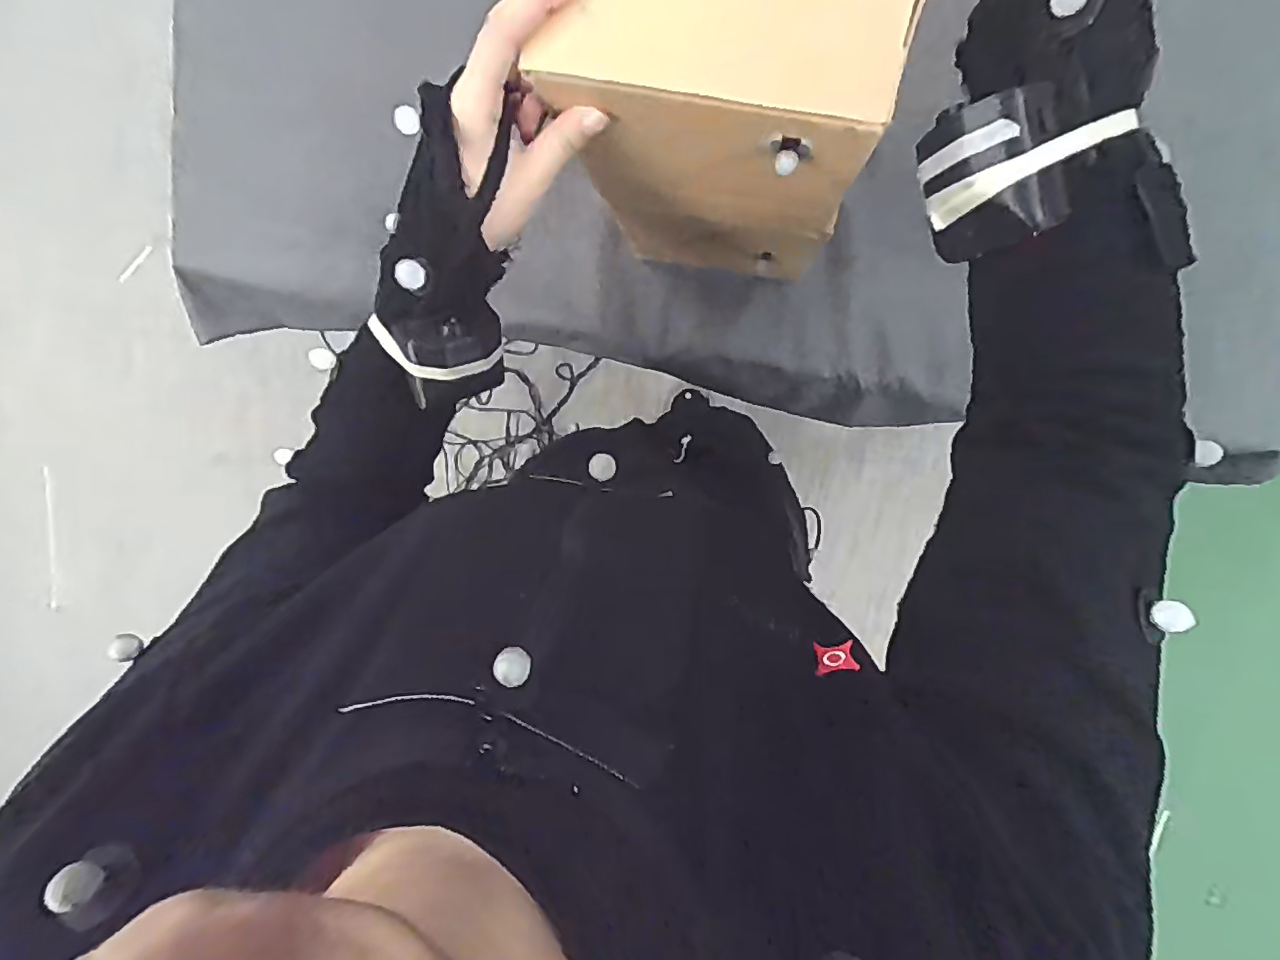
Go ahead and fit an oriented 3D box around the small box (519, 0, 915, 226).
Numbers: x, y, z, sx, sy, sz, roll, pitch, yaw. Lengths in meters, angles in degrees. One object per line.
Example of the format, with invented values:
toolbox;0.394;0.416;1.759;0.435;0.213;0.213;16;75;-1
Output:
small box;0.052;-0.268;0.315;0.179;0.176;0.168;13;100;5

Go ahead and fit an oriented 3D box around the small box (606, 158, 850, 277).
small box;0.083;-0.287;0.474;0.179;0.176;0.168;11;99;8
